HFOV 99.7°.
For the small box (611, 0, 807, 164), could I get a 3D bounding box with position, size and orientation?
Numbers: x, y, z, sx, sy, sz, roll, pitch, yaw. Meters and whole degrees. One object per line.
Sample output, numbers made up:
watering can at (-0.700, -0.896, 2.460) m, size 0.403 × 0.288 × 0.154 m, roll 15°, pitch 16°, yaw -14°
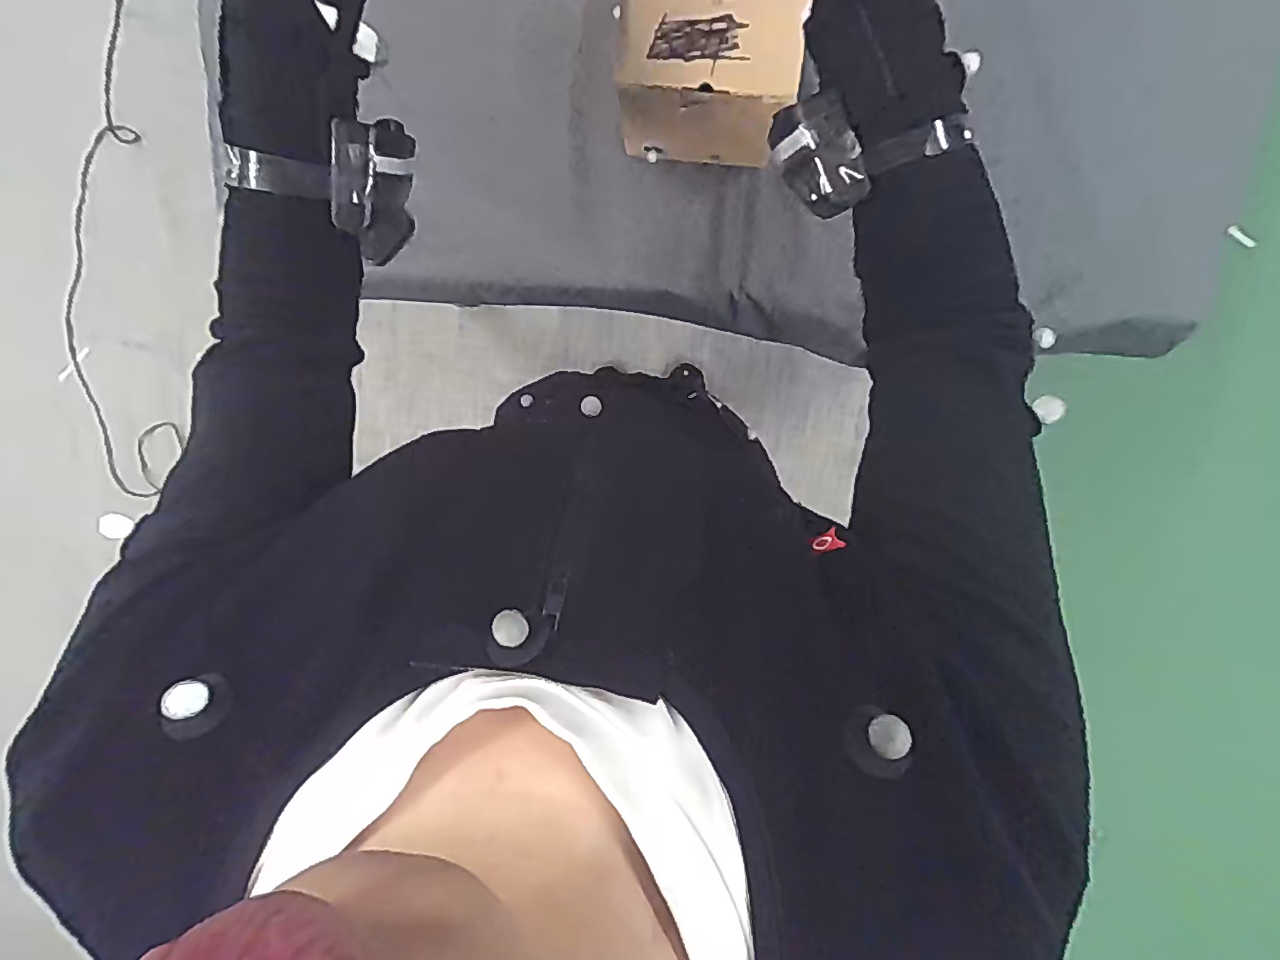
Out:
small box at (0.068, -0.443, 0.541) m, size 0.168 × 0.176 × 0.179 m, roll 7°, pitch 101°, yaw 1°
